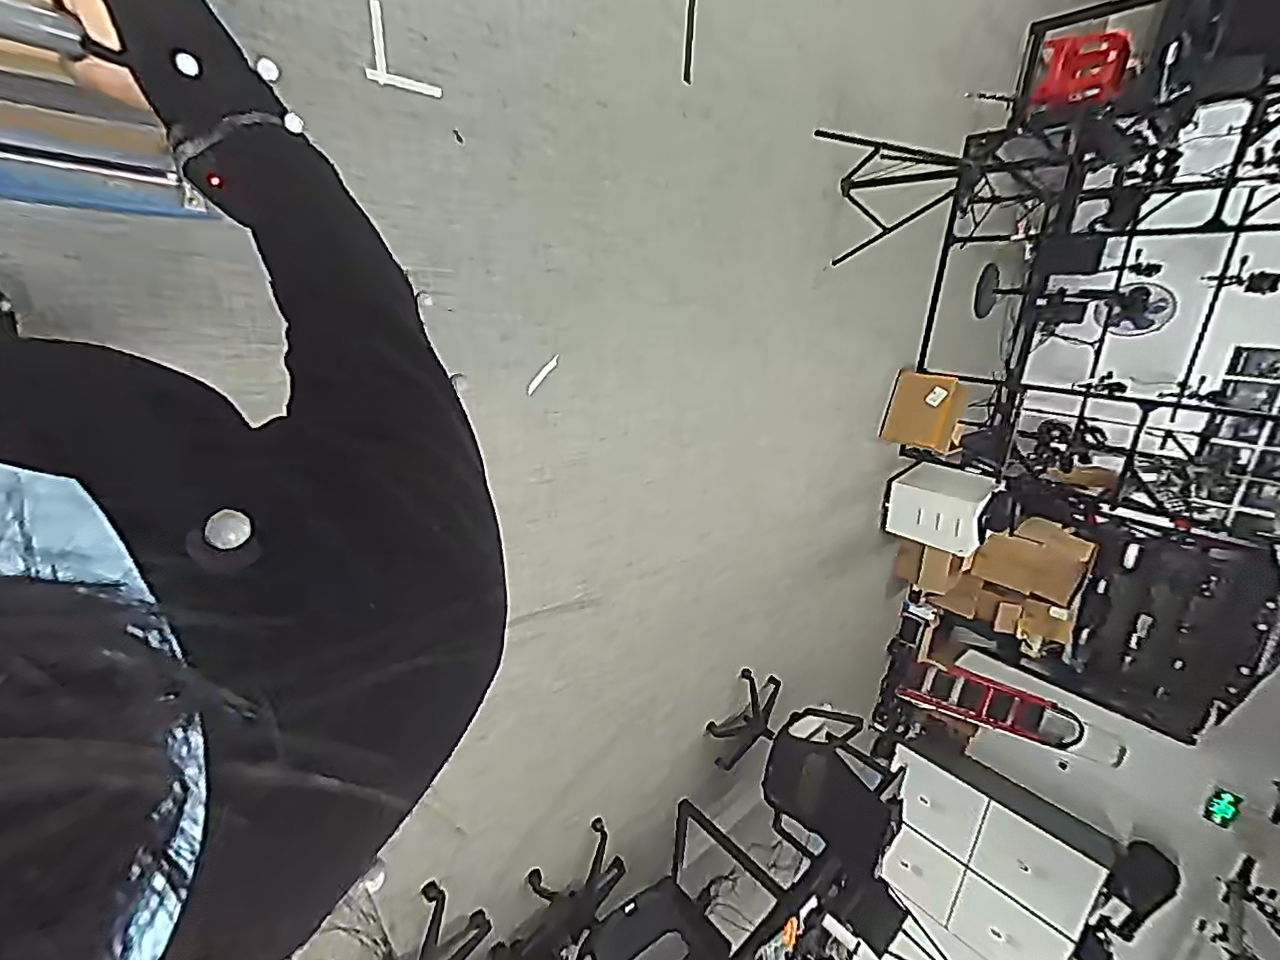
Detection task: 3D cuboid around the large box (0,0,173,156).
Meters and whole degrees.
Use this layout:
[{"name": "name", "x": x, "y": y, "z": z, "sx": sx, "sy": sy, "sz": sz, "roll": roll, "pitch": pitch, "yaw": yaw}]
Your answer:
[{"name": "large box", "x": -0.835, "y": -0.608, "z": 0.615, "sx": 0.408, "sy": 0.320, "sz": 0.320, "roll": -12, "pitch": 113, "yaw": -43}]
